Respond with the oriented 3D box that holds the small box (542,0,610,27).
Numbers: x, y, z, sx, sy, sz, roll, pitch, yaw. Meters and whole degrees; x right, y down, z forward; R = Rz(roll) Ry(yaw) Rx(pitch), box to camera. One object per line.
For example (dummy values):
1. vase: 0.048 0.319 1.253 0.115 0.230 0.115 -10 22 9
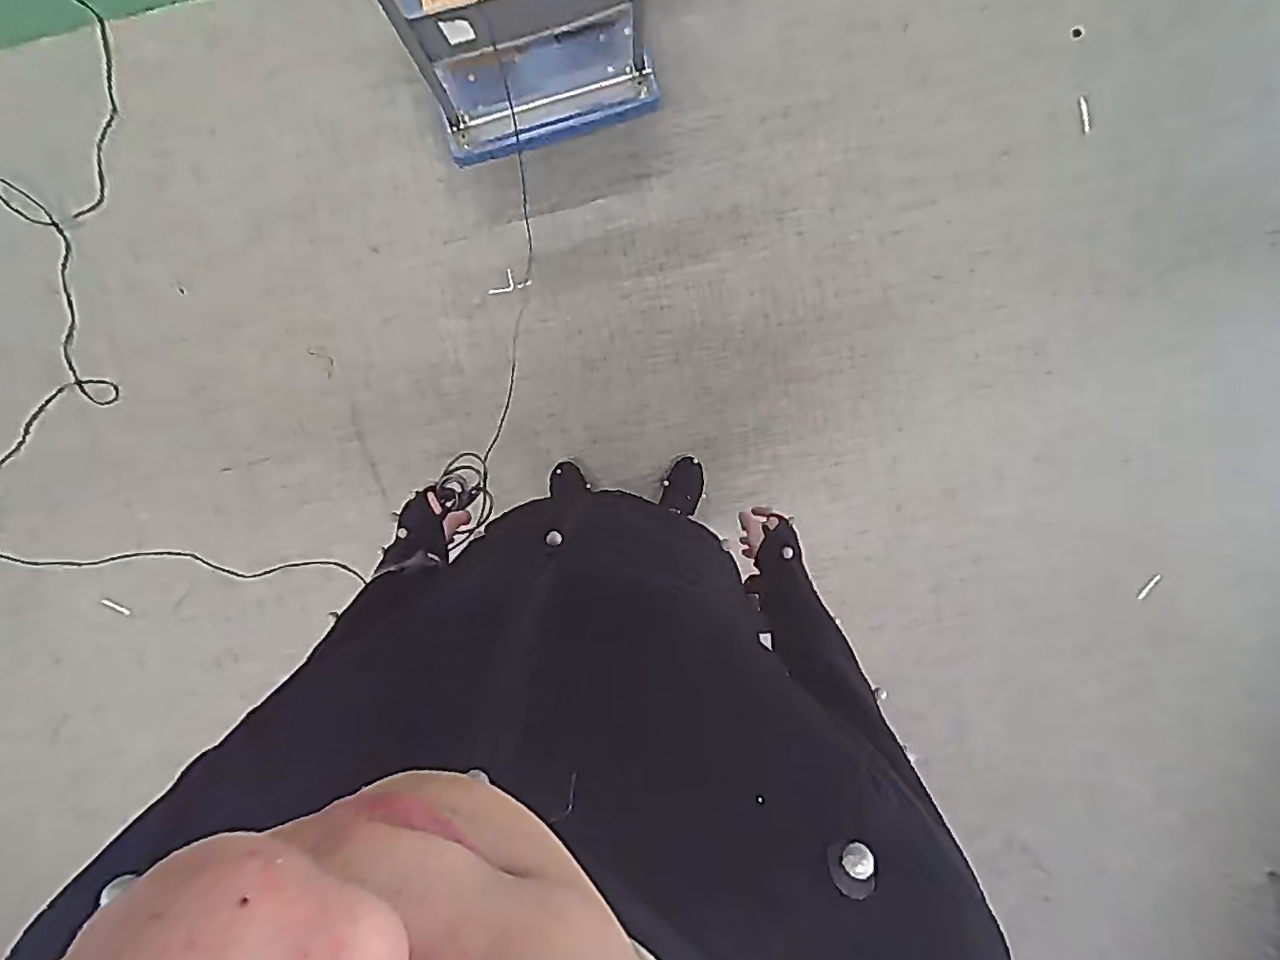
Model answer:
1. small box: -0.171 -1.249 1.291 0.168 0.176 0.179 -14 95 1
